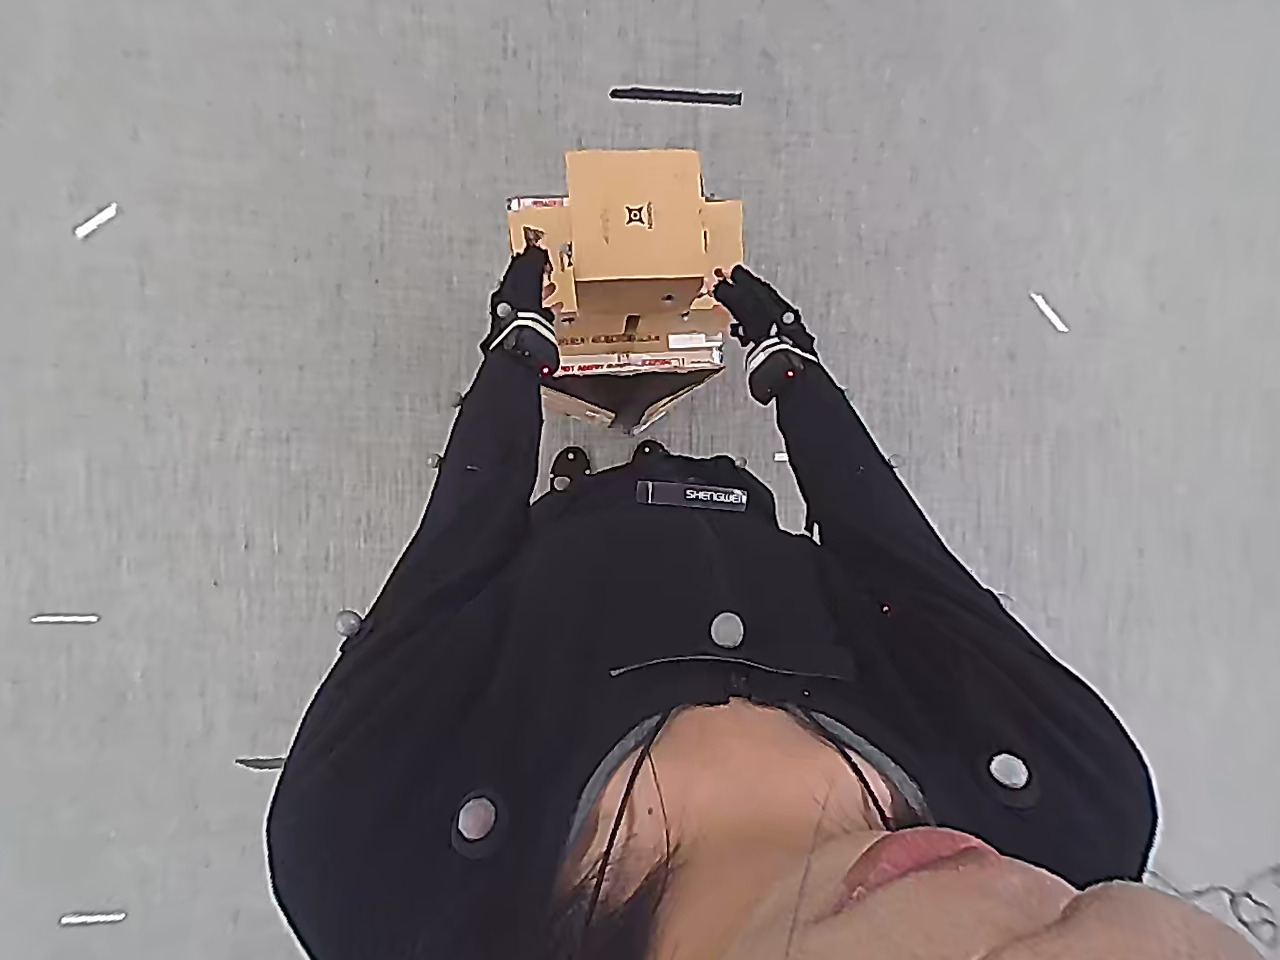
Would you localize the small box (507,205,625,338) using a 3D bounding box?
[{"bbox_3d":[-0.117,-0.346,0.919,0.179,0.176,0.168,-6,92,-4],"label":"small box"}]

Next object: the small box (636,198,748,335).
[{"bbox_3d":[0.079,-0.361,0.937,0.168,0.176,0.179,-3,91,-7],"label":"small box"}]

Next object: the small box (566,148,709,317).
[{"bbox_3d":[-0.010,-0.338,0.764,0.179,0.176,0.168,-5,91,-5],"label":"small box"}]
